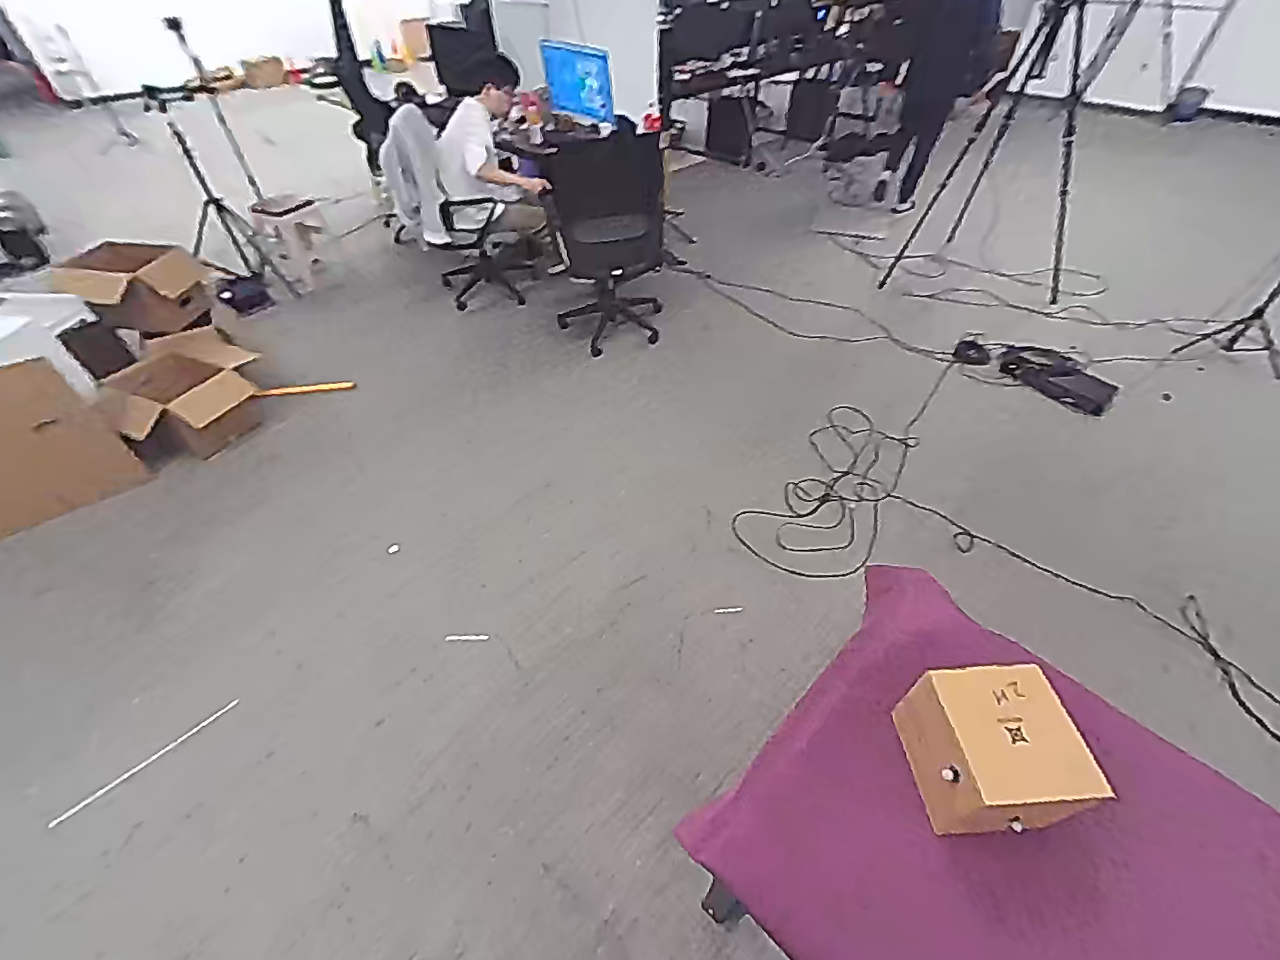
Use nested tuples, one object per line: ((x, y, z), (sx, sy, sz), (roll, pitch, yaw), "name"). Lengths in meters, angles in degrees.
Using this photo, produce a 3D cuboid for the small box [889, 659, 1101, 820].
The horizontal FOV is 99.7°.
((0.496, 0.382, 0.789), (0.168, 0.176, 0.179), (-2, 47, -2), "small box")
